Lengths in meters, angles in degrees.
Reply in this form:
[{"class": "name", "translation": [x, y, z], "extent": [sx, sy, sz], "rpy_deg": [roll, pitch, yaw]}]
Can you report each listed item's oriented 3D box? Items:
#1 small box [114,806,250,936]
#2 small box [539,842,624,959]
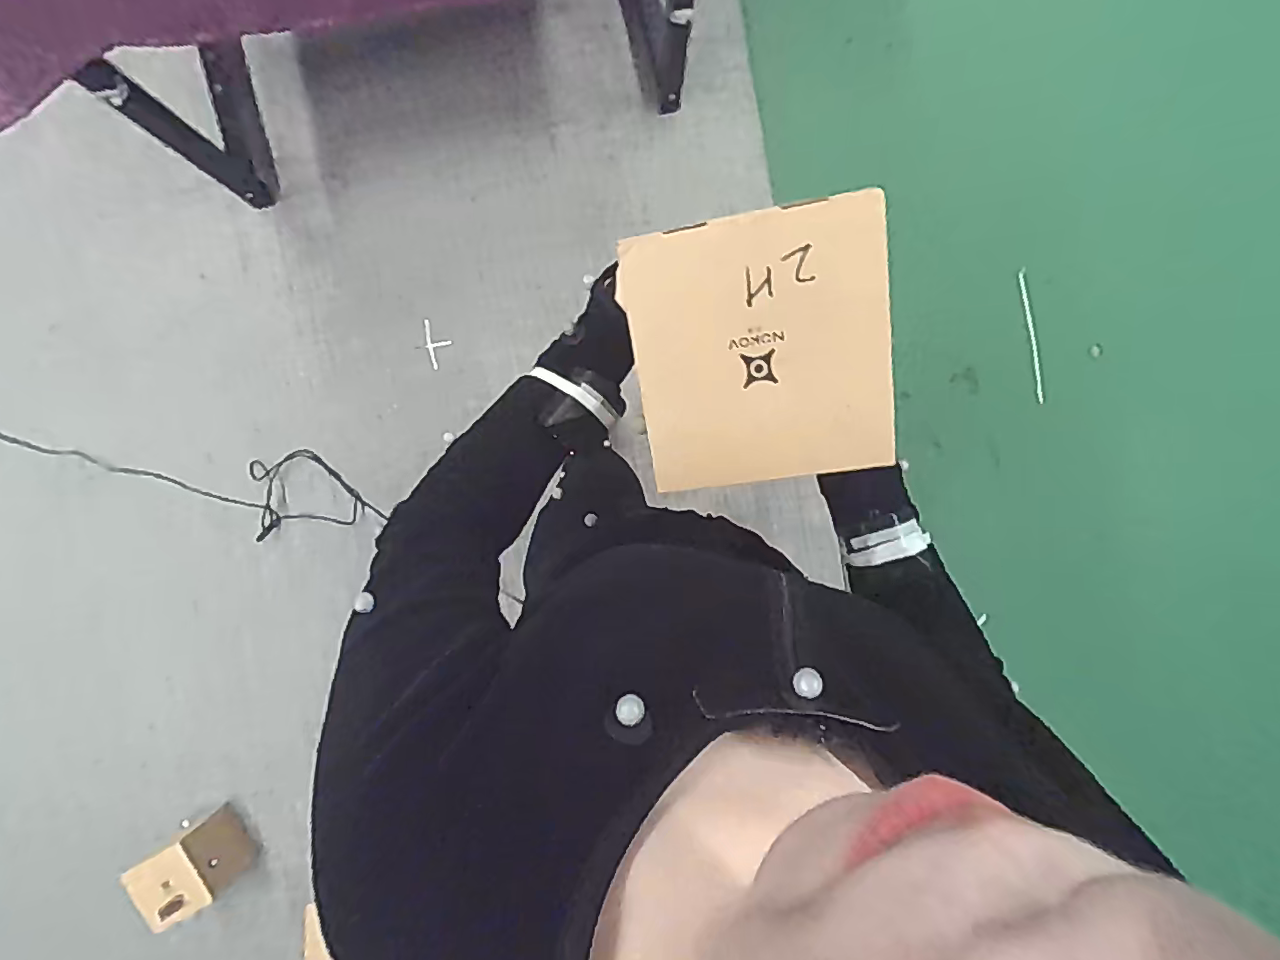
[{"class": "small box", "translation": [-1.159, 0.990, 1.384], "extent": [0.168, 0.176, 0.179], "rpy_deg": [-29, 91, -2]}, {"class": "small box", "translation": [-0.149, 1.095, 1.416], "extent": [0.179, 0.176, 0.168], "rpy_deg": [-17, 91, -2]}]
